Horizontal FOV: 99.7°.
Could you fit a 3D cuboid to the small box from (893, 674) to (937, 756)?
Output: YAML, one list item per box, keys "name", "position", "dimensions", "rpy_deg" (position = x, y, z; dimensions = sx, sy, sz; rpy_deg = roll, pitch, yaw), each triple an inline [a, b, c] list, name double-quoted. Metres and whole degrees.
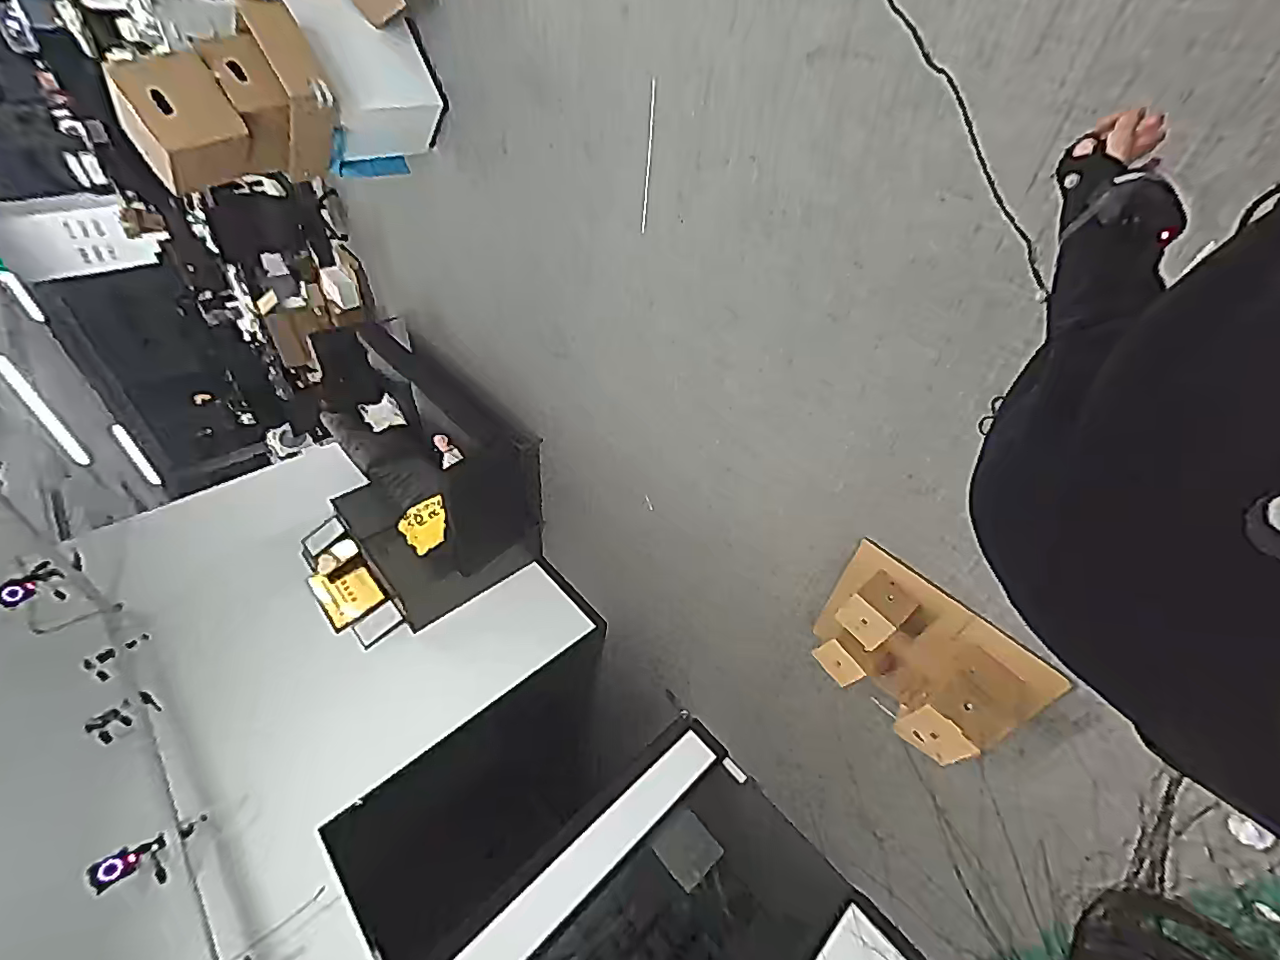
- name: "small box"
  position: [1.024, 0.818, 1.891]
  dimensions: [0.179, 0.176, 0.168]
  rpy_deg: [29, 136, 42]

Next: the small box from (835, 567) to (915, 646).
- name: "small box"
  position: [0.817, 0.433, 1.869]
  dimensions: [0.168, 0.176, 0.179]
  rpy_deg: [45, 145, 24]

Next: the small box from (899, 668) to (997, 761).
- name: "small box"
  position: [0.929, 0.697, 1.621]
  dimensions: [0.168, 0.176, 0.179]
  rpy_deg: [46, 145, 24]
